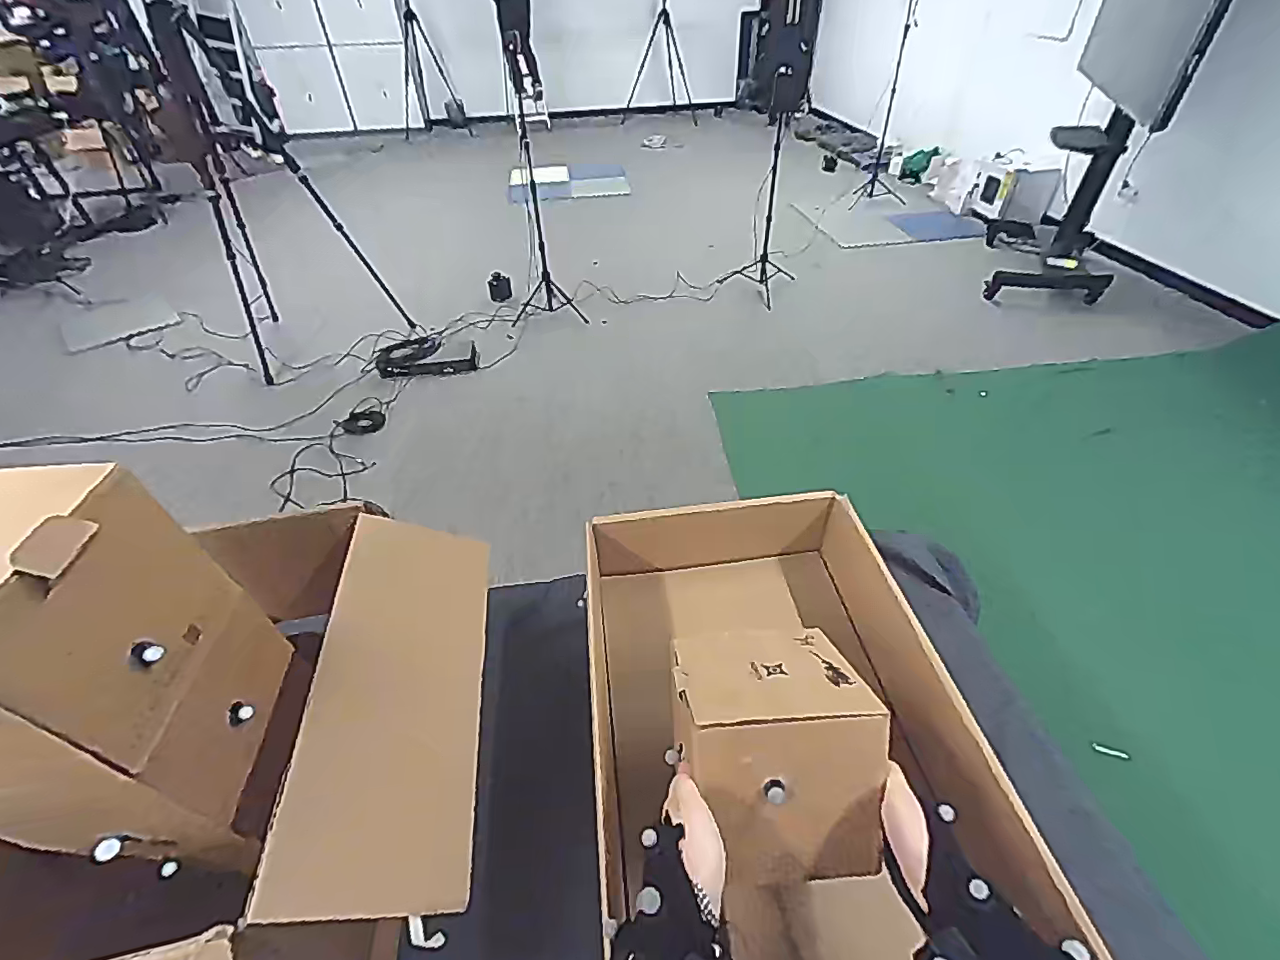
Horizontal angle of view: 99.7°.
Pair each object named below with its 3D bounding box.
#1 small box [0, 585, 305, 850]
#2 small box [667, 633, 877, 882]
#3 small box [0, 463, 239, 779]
[{"bbox_3d":[-0.454,0.223,0.512,0.168,0.176,0.179,-4,45,-3],"label":"small box"},{"bbox_3d":[0.126,0.279,0.564,0.179,0.176,0.168,-3,11,-3],"label":"small box"},{"bbox_3d":[-0.458,0.107,0.398,0.179,0.176,0.168,-3,43,-3],"label":"small box"}]
